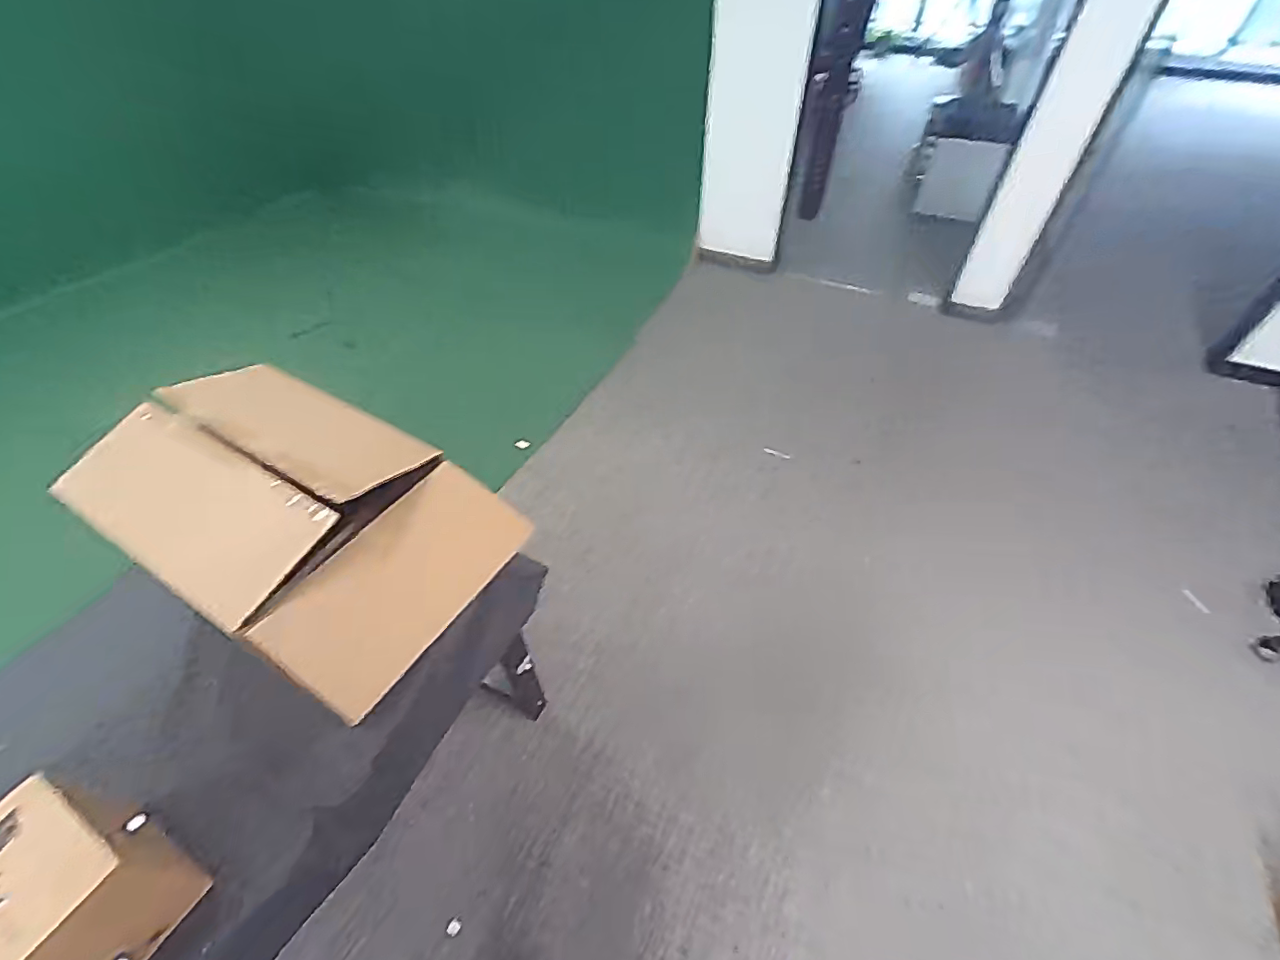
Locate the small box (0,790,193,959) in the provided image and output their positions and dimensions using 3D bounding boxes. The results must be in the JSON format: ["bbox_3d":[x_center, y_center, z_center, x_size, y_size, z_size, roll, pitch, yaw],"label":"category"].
[{"bbox_3d":[-0.646,0.472,0.573,0.179,0.176,0.168,23,53,18],"label":"small box"}]
